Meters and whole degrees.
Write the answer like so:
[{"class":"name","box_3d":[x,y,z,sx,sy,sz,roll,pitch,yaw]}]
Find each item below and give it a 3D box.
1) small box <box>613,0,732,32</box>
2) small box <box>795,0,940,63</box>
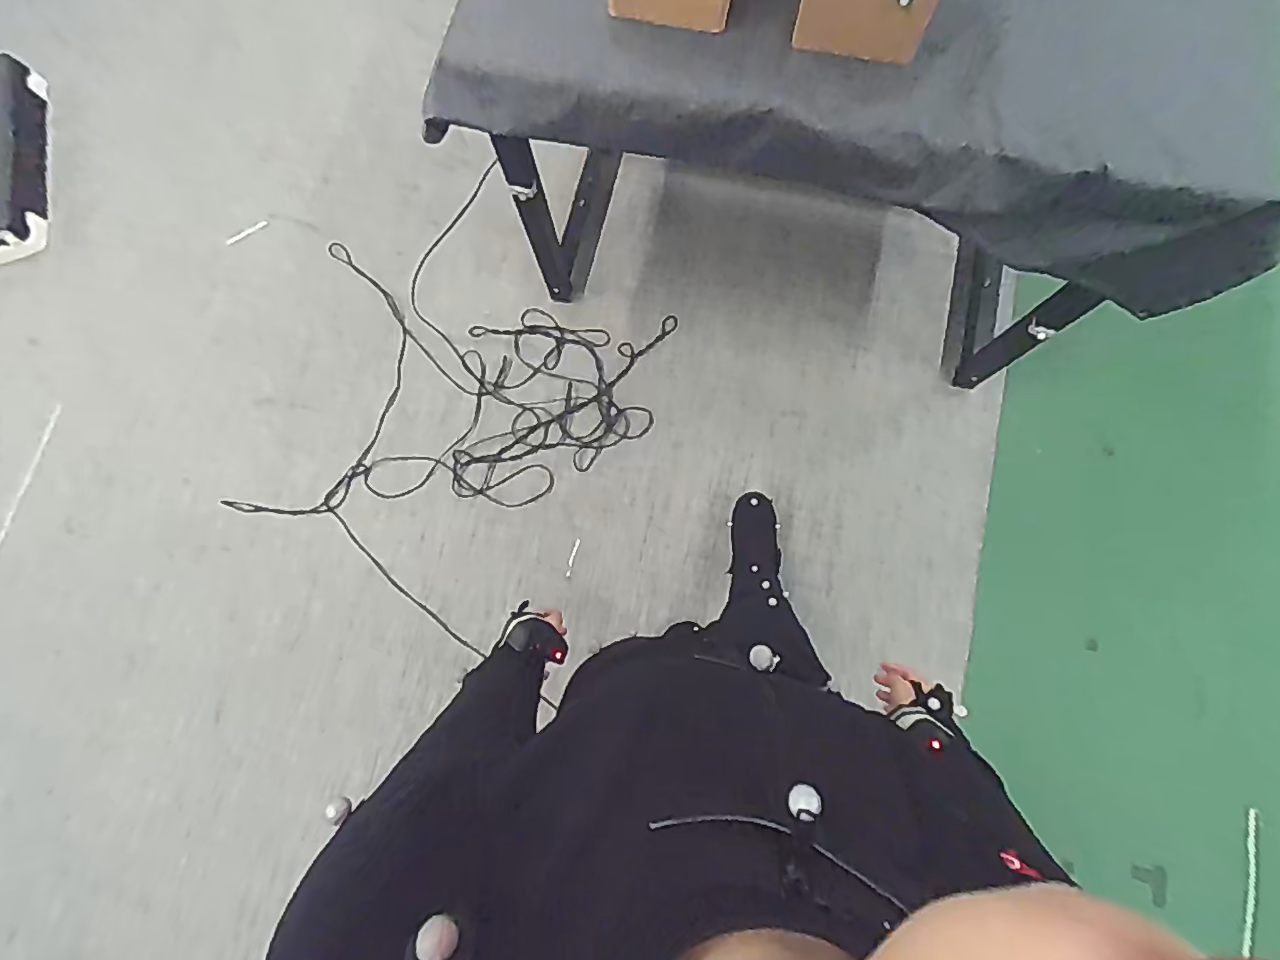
[{"class":"small box","box_3d":[0.055,-0.778,0.756,0.179,0.176,0.168,12,78,5]},{"class":"small box","box_3d":[0.326,-0.710,0.728,0.179,0.176,0.168,13,77,7]}]
